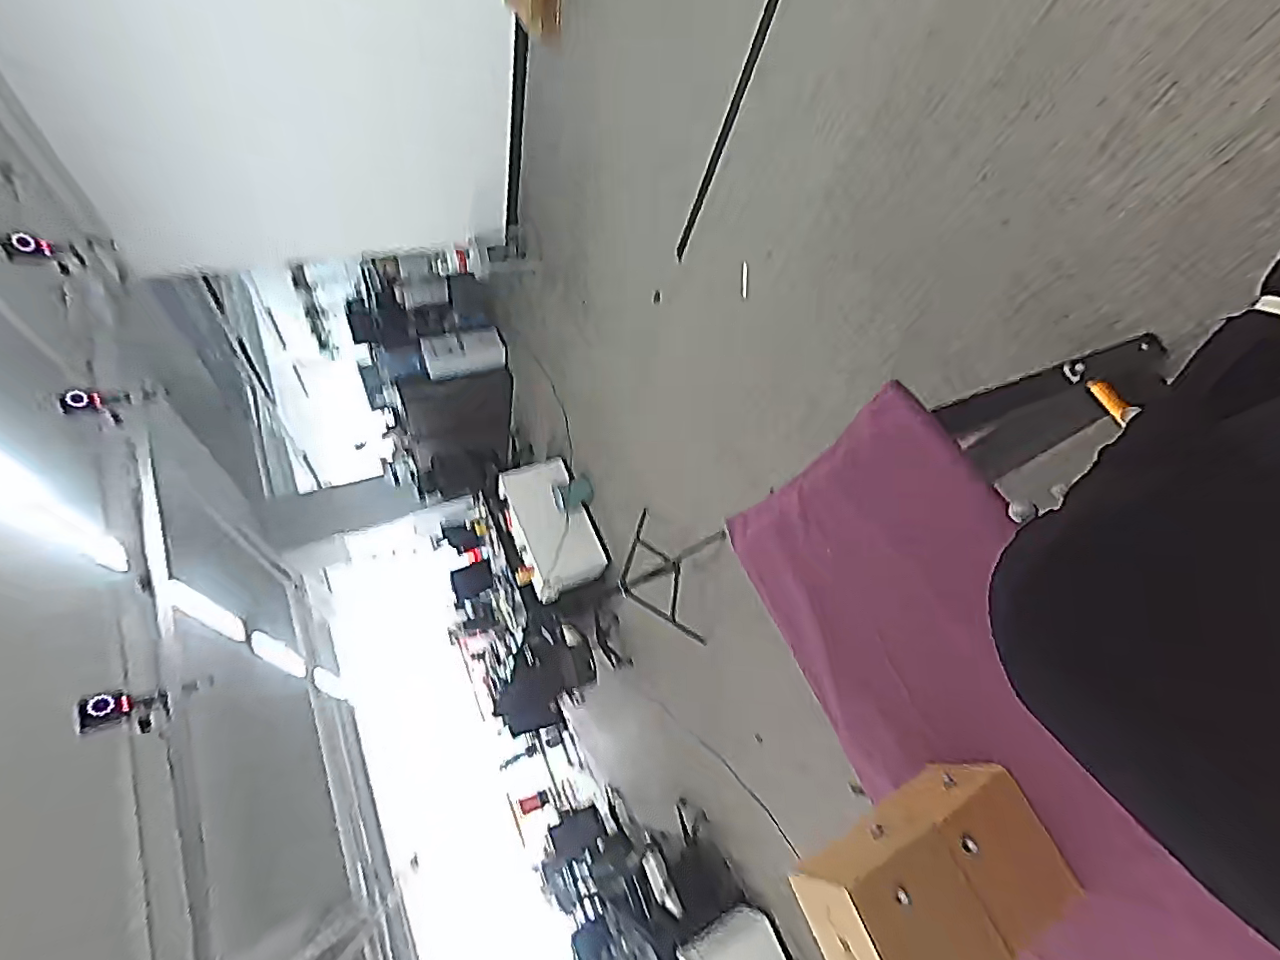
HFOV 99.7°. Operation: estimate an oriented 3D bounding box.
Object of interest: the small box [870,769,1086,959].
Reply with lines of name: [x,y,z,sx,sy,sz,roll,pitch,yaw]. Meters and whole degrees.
small box: [0.494,0.558,0.801,0.179,0.176,0.168,64,155,20]
